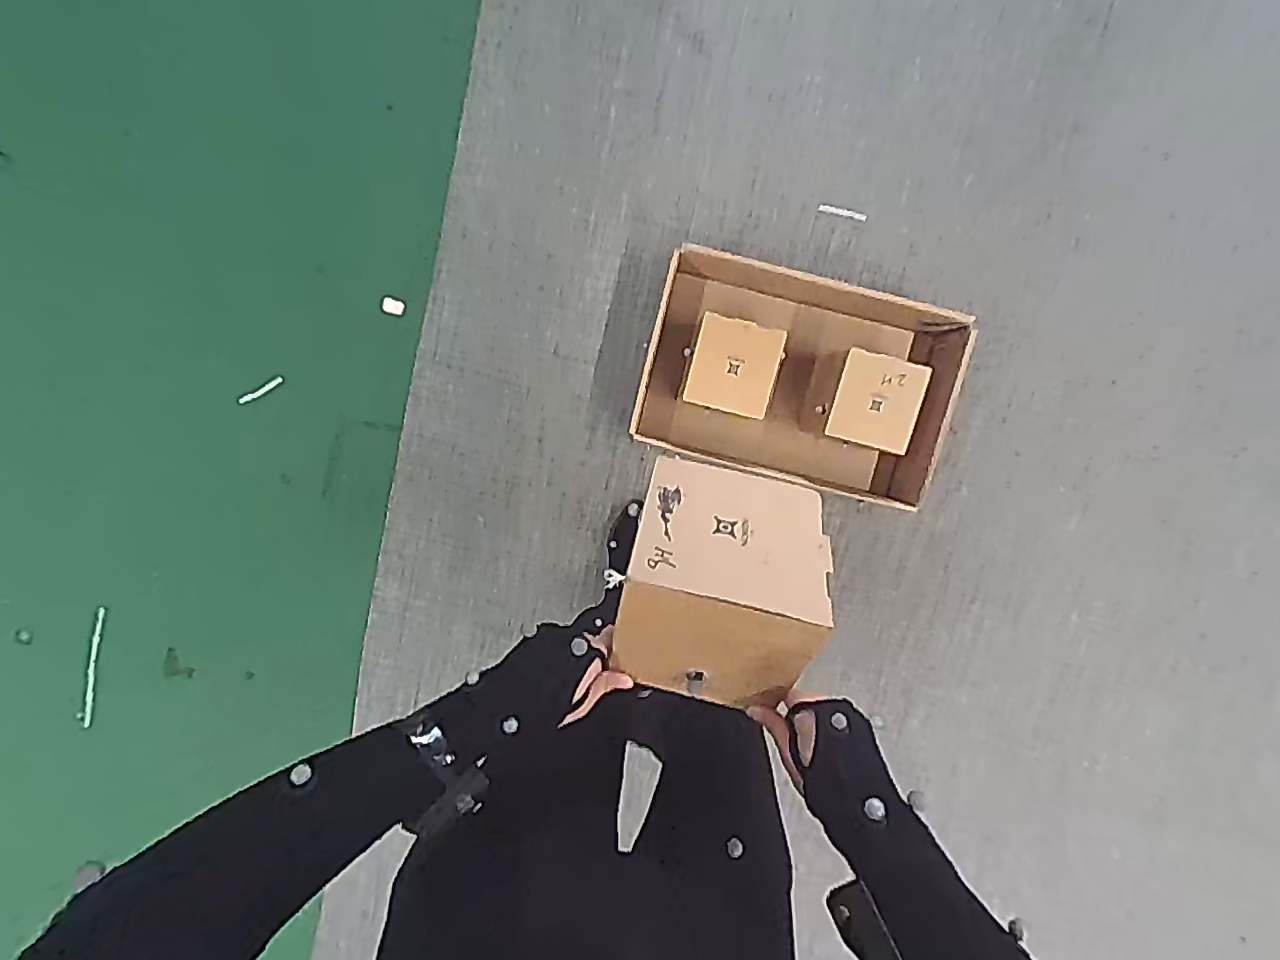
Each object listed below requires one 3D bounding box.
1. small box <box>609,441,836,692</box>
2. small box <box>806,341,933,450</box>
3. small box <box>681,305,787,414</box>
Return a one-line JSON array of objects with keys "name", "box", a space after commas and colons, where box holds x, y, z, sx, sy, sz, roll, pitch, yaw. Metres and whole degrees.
[{"name": "small box", "box": [0.078, 0.091, 0.551, 0.179, 0.168, 0.176, 14, 133, 2]}, {"name": "small box", "box": [0.461, -0.171, 1.119, 0.168, 0.176, 0.179, 15, 97, -1]}, {"name": "small box", "box": [0.183, -0.239, 1.116, 0.168, 0.176, 0.179, 14, 96, -1]}]
